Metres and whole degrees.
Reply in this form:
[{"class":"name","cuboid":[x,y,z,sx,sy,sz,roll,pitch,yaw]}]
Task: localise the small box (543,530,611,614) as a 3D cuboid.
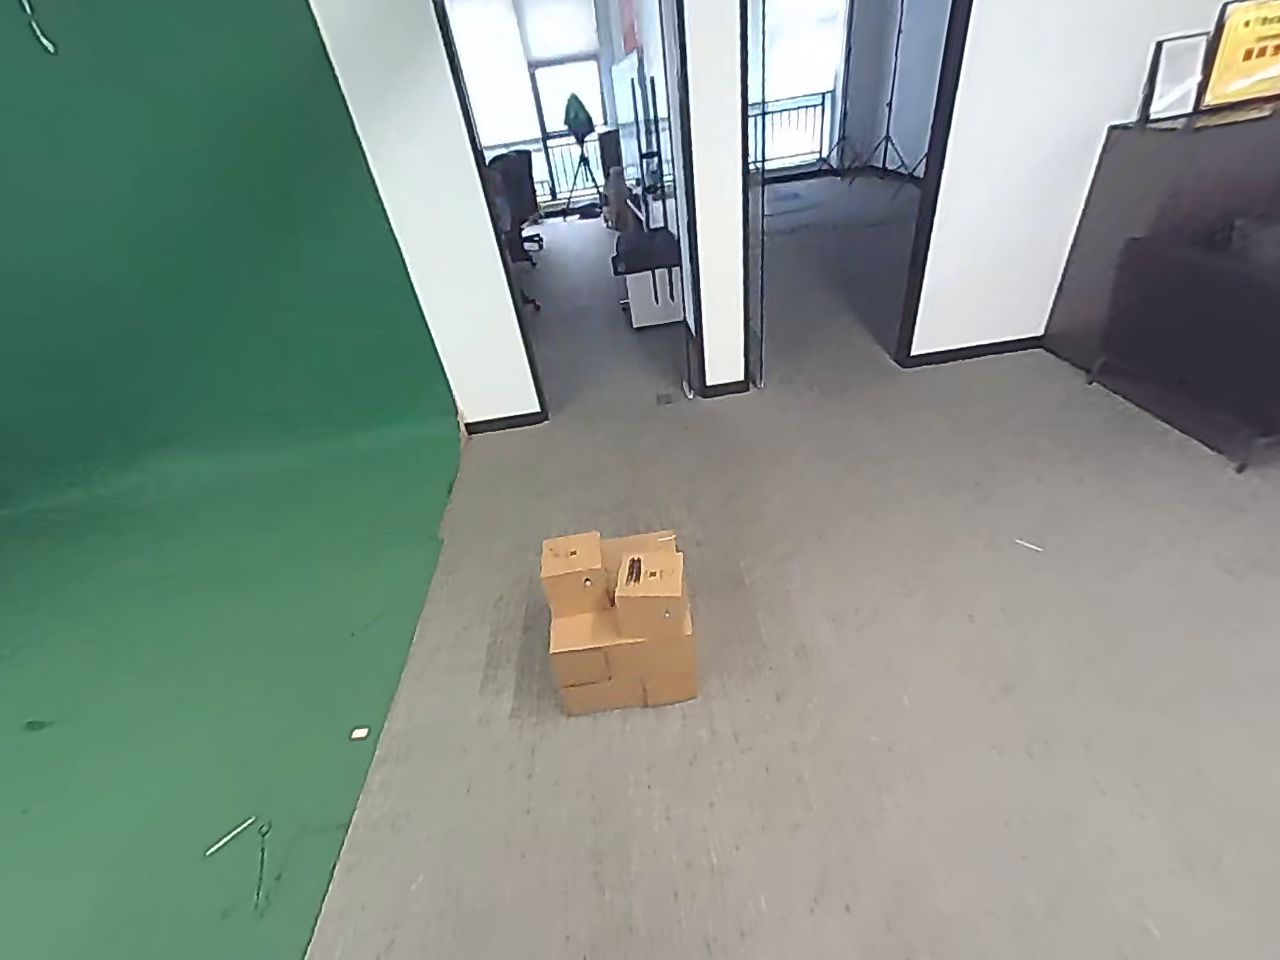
[{"class":"small box","cuboid":[-0.182,0.274,1.612,0.179,0.176,0.168,-9,34,0]}]
